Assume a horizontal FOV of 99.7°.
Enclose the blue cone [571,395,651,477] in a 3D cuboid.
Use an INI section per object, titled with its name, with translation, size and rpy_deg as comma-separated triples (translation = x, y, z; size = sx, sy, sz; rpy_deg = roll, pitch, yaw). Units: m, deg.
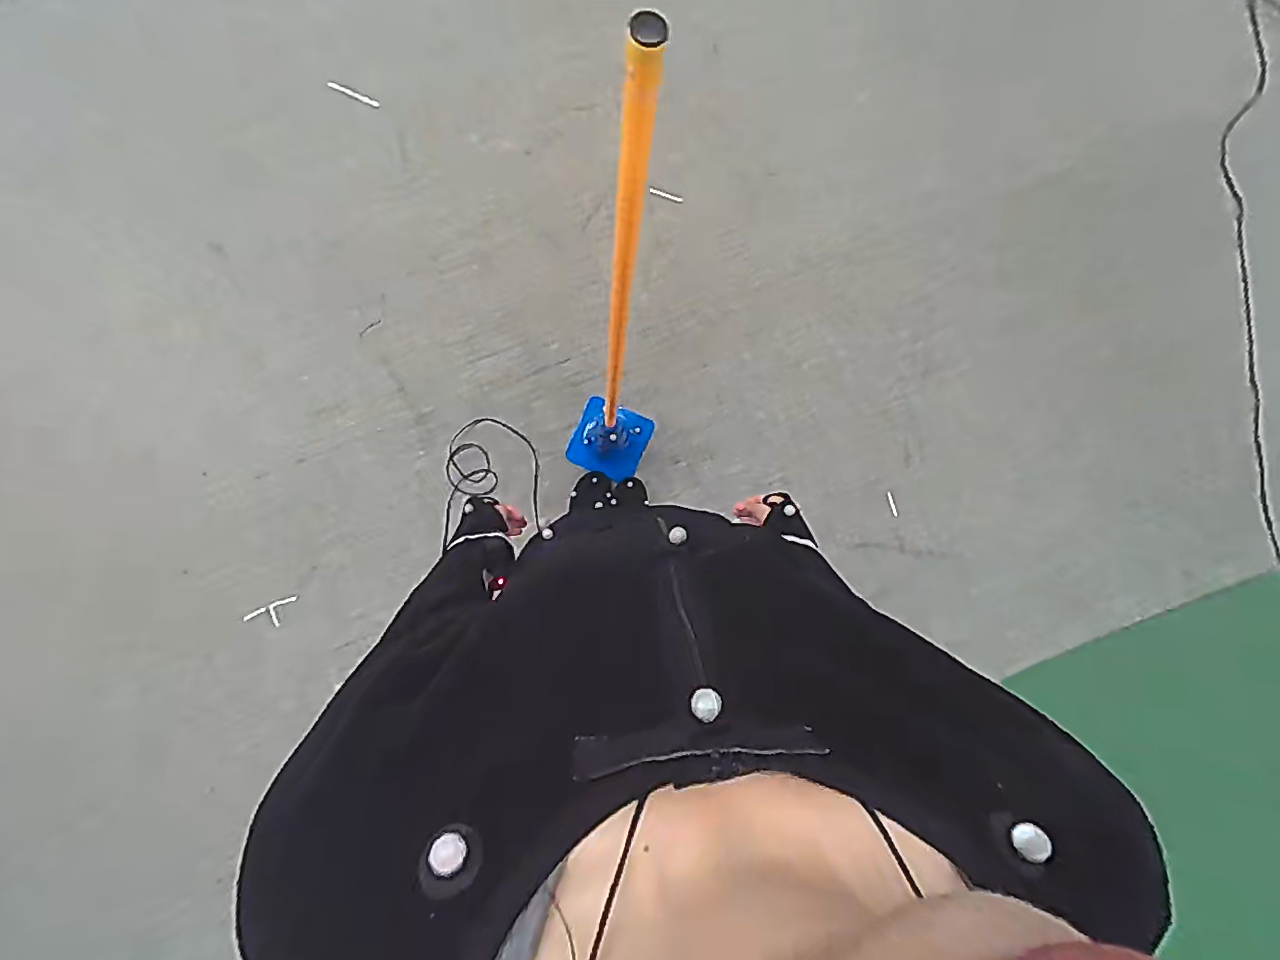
[blue cone]
translation = -0.070, -0.129, 1.315
size = 0.192, 0.380, 0.193
rpy_deg = 23, 86, -3
